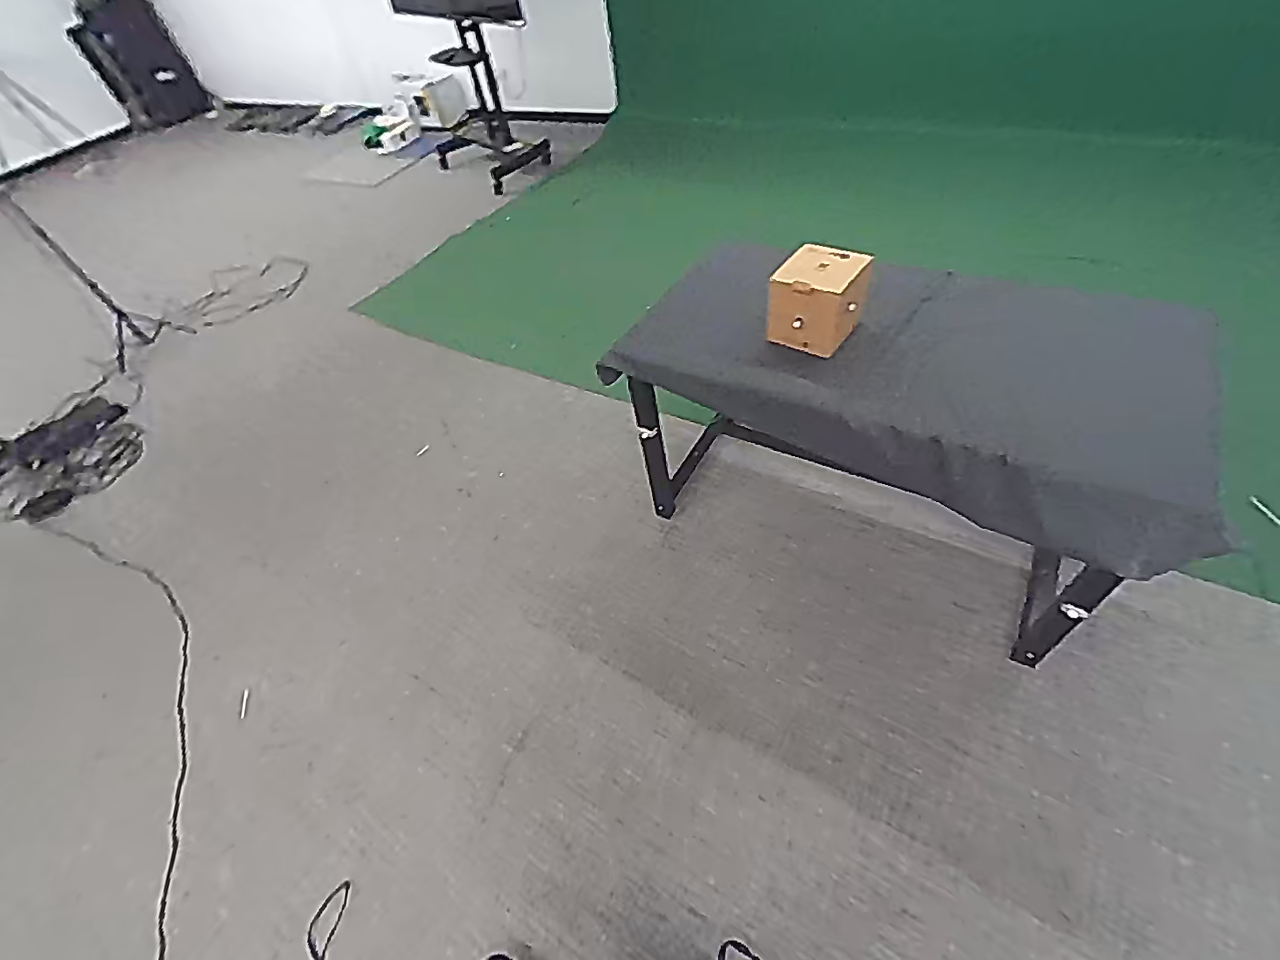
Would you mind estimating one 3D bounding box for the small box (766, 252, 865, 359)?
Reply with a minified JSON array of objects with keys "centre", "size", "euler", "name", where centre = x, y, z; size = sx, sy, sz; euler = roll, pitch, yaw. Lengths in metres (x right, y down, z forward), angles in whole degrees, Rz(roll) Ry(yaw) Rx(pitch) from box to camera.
[{"centre":[0.413,-0.412,1.282],"size":[0.168,0.176,0.179],"euler":[23,57,29],"name":"small box"}]
